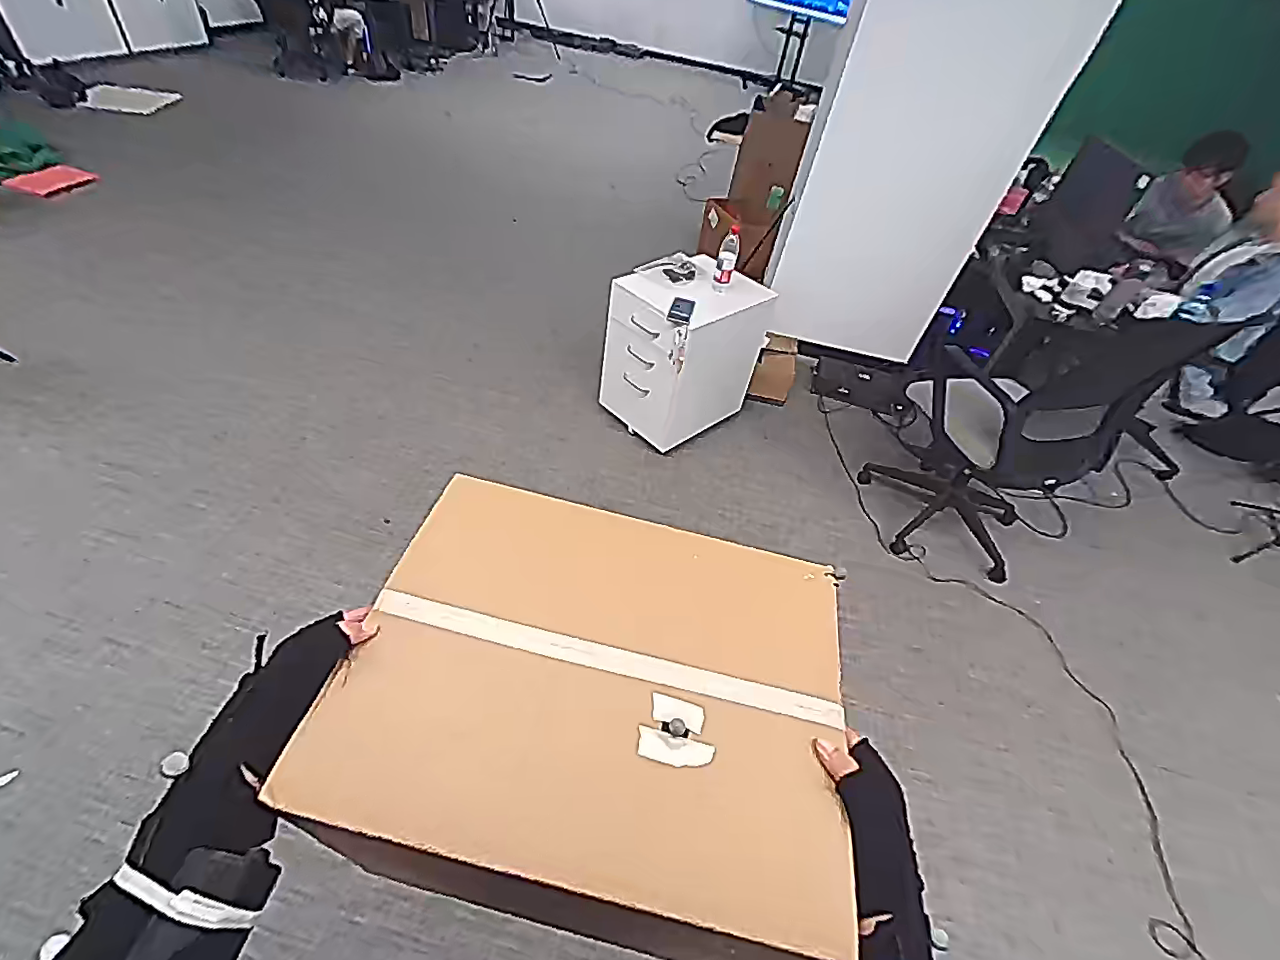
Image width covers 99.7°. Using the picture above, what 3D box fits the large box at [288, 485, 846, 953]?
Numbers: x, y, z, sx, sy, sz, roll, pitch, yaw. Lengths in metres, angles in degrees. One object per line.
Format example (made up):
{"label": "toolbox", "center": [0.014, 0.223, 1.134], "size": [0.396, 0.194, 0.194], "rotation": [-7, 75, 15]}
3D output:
{"label": "large box", "center": [-0.049, 0.255, 0.577], "size": [0.408, 0.320, 0.320], "rotation": [14, 48, 1]}
